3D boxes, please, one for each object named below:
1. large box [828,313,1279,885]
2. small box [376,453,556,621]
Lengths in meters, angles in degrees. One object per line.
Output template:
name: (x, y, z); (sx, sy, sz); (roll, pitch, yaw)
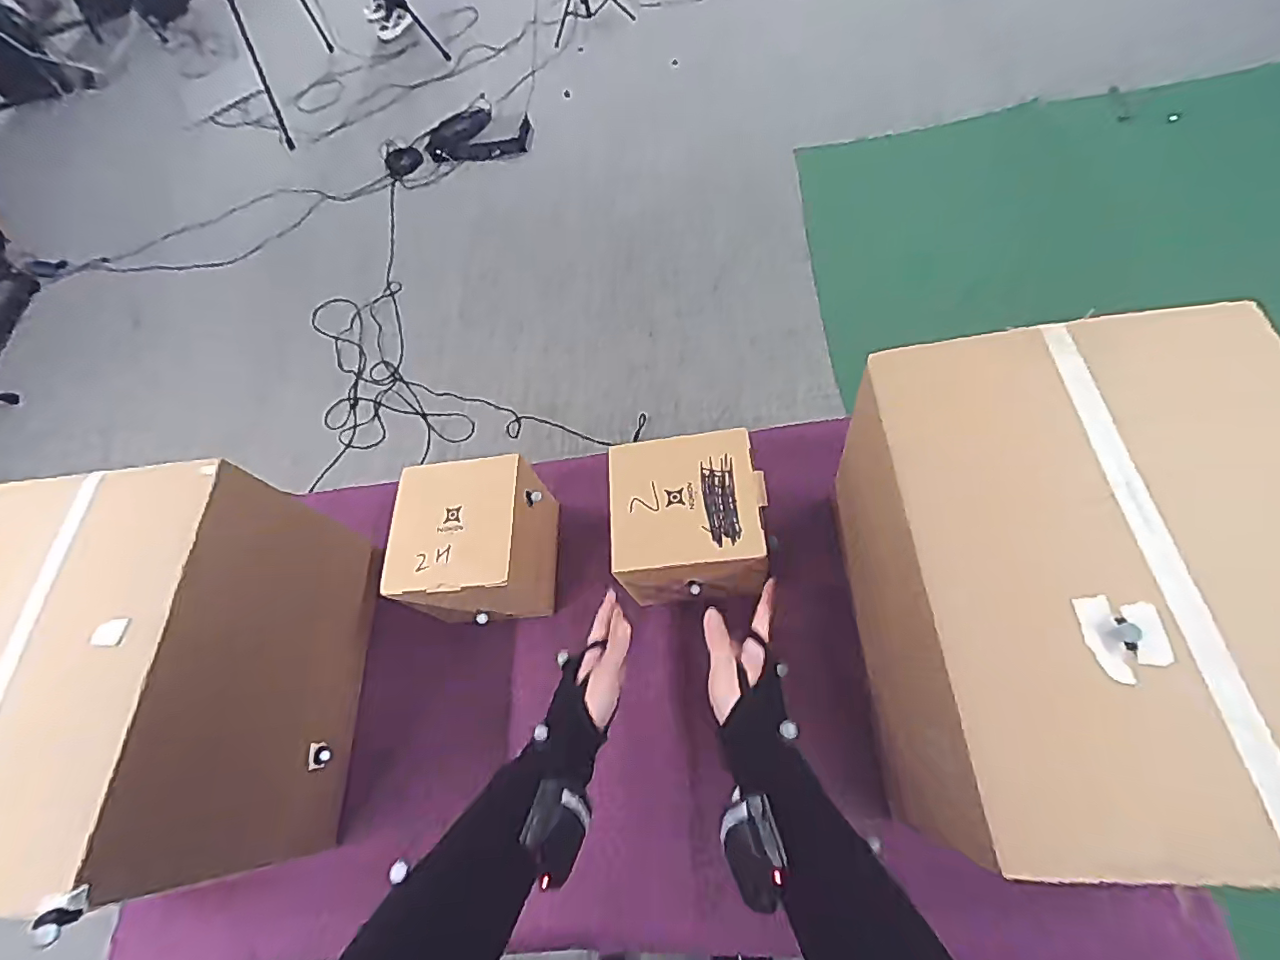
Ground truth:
large box: (0.392, 0.113, 0.523); (0.320, 0.320, 0.408); (-6, 63, 10)
small box: (-0.220, 0.084, 0.737); (0.168, 0.176, 0.179); (-6, 63, 9)
